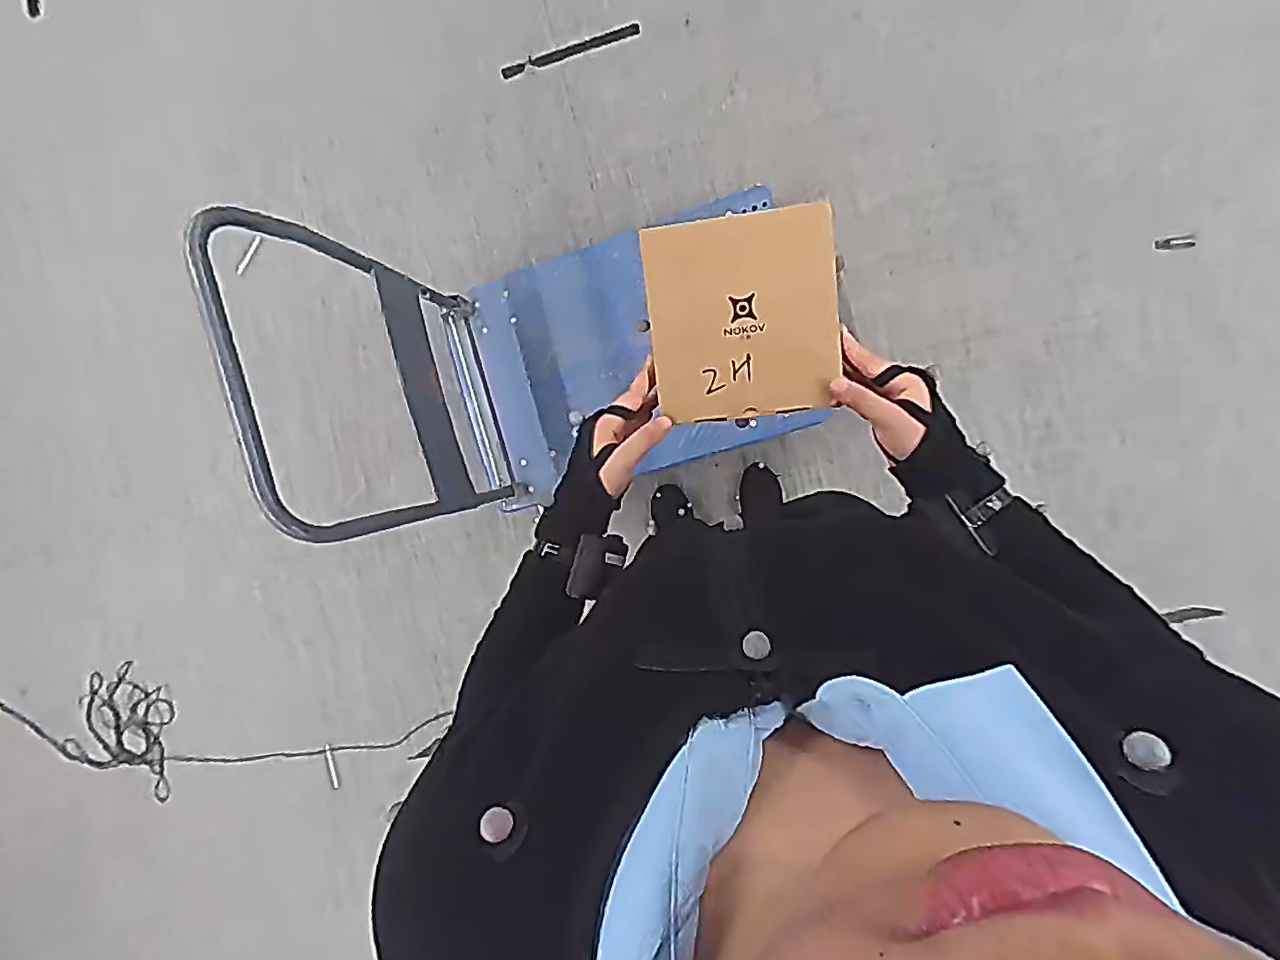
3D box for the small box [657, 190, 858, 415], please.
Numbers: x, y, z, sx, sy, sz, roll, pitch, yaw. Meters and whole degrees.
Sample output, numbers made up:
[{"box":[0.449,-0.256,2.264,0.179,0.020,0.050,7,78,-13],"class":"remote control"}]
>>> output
[{"box":[0.109,-0.161,0.546,0.168,0.176,0.179,-5,98,7],"class":"small box"}]
